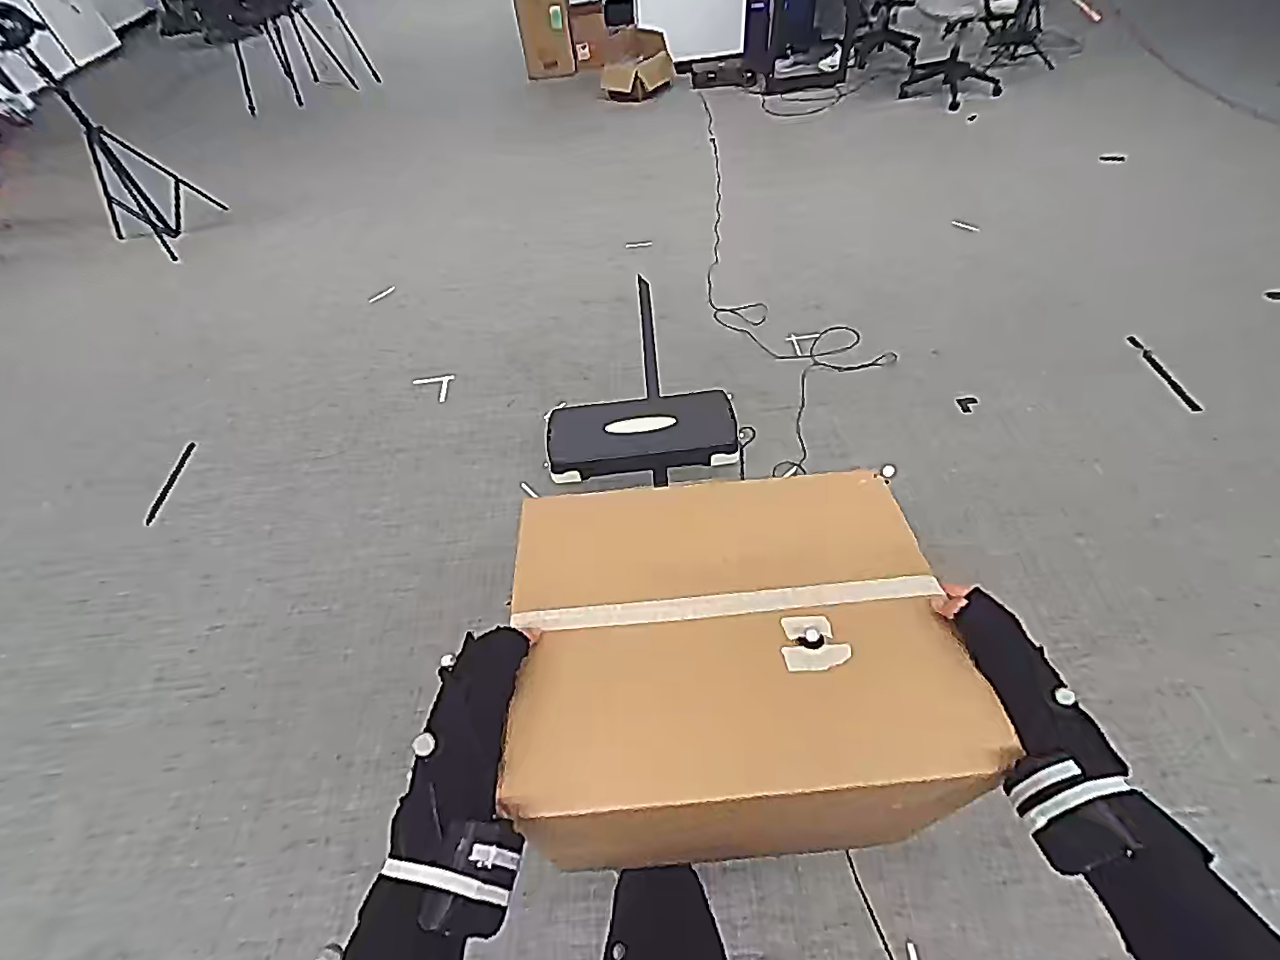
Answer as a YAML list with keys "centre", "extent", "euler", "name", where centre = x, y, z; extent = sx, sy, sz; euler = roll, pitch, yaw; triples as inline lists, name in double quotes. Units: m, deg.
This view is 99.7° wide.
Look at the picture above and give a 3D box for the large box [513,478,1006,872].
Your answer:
- centre: [0.090, 0.228, 0.632]
  extent: [0.408, 0.320, 0.320]
  euler: [-5, 47, -1]
  name: "large box"
